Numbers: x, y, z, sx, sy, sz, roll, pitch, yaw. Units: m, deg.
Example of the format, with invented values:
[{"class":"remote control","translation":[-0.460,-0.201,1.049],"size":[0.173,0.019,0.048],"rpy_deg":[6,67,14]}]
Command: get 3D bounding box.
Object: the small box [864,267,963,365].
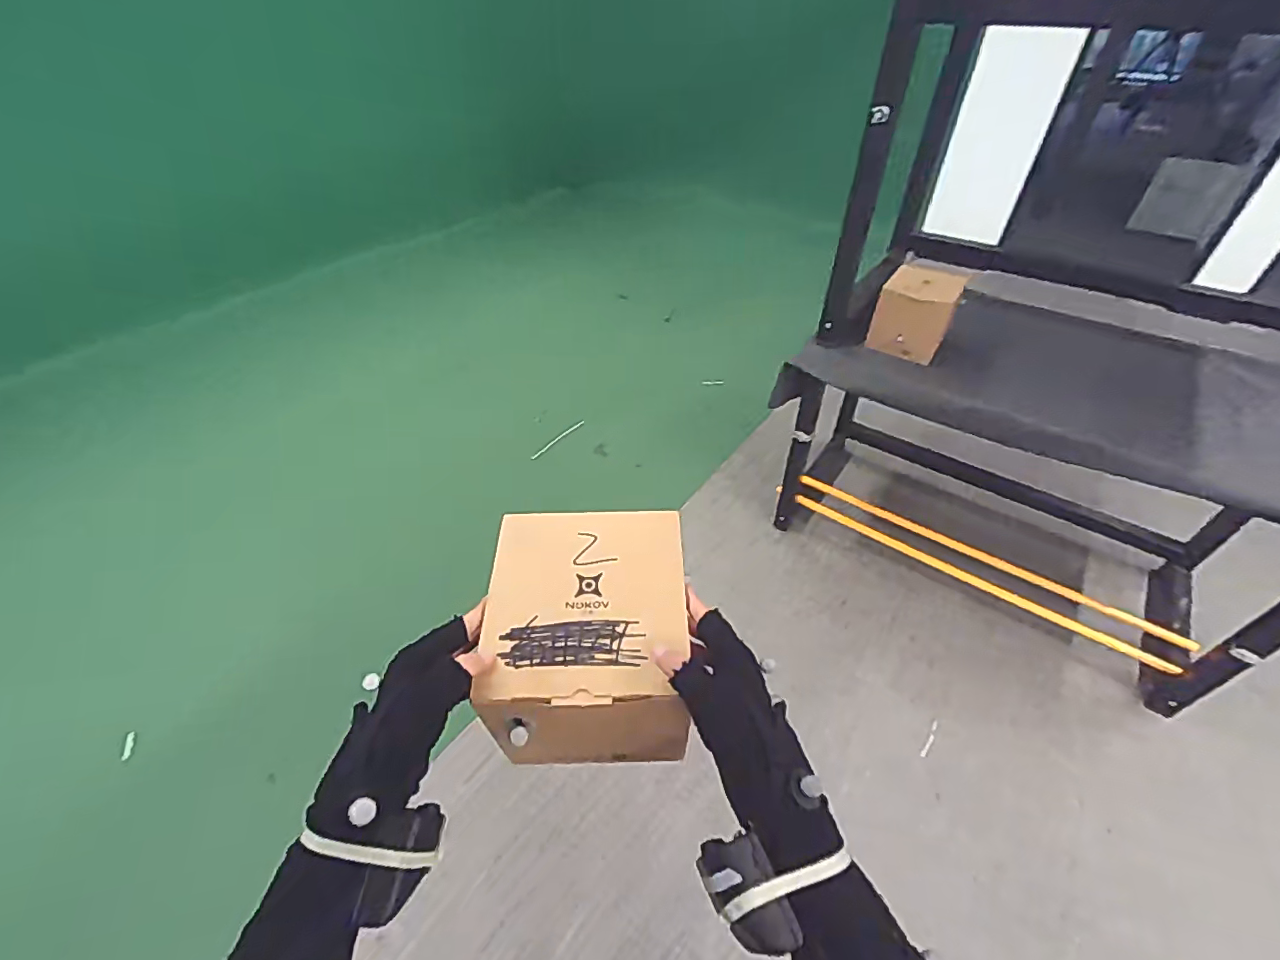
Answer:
[{"class":"small box","translation":[0.704,-0.427,1.406],"size":[0.168,0.176,0.179],"rpy_deg":[25,49,25]}]
